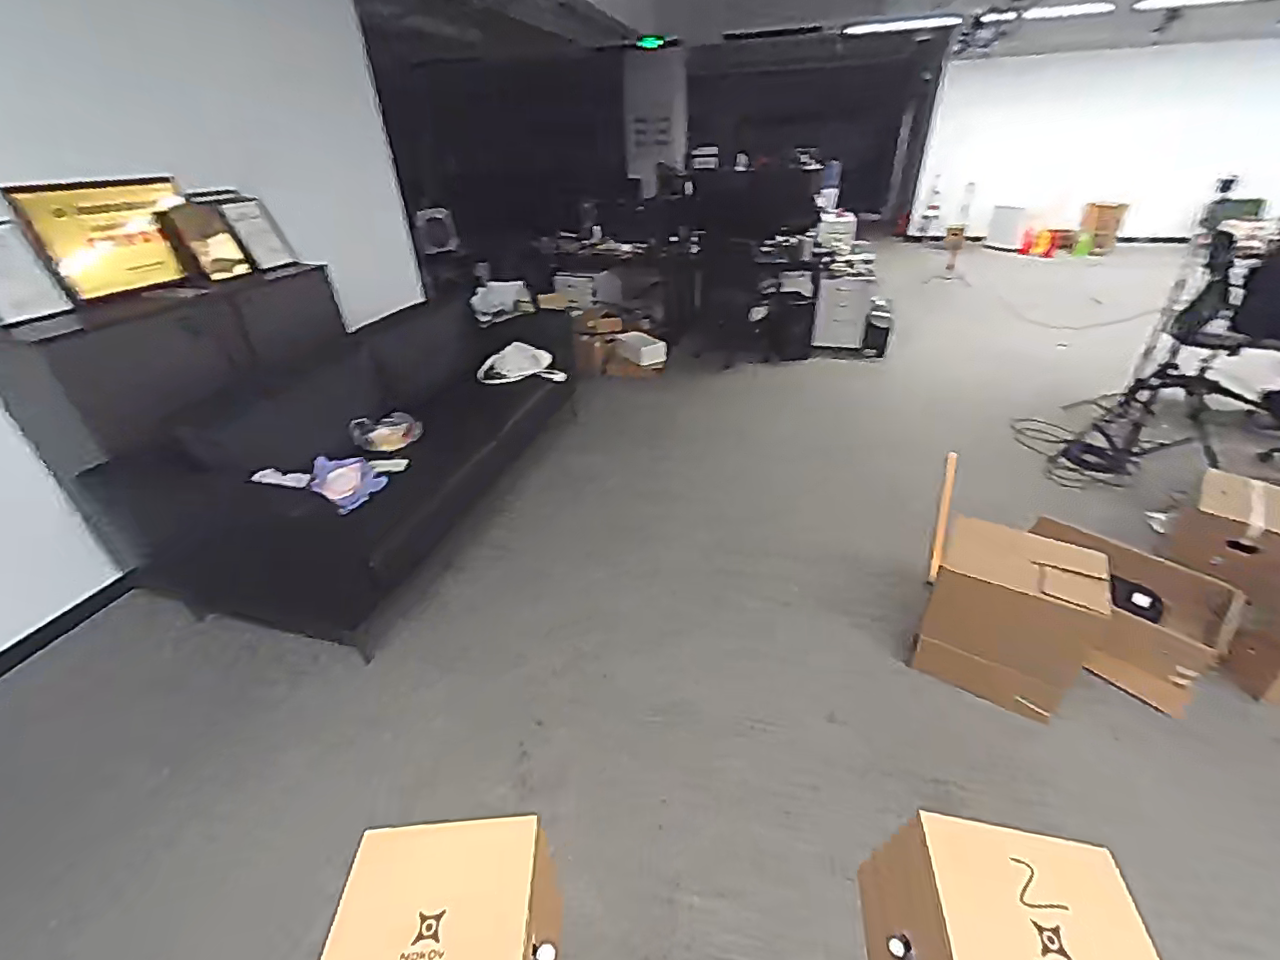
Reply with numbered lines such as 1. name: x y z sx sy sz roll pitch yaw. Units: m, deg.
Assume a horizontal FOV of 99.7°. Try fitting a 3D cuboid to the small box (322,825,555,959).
1. small box: -0.170 0.444 0.477 0.168 0.176 0.179 -4 32 -2
